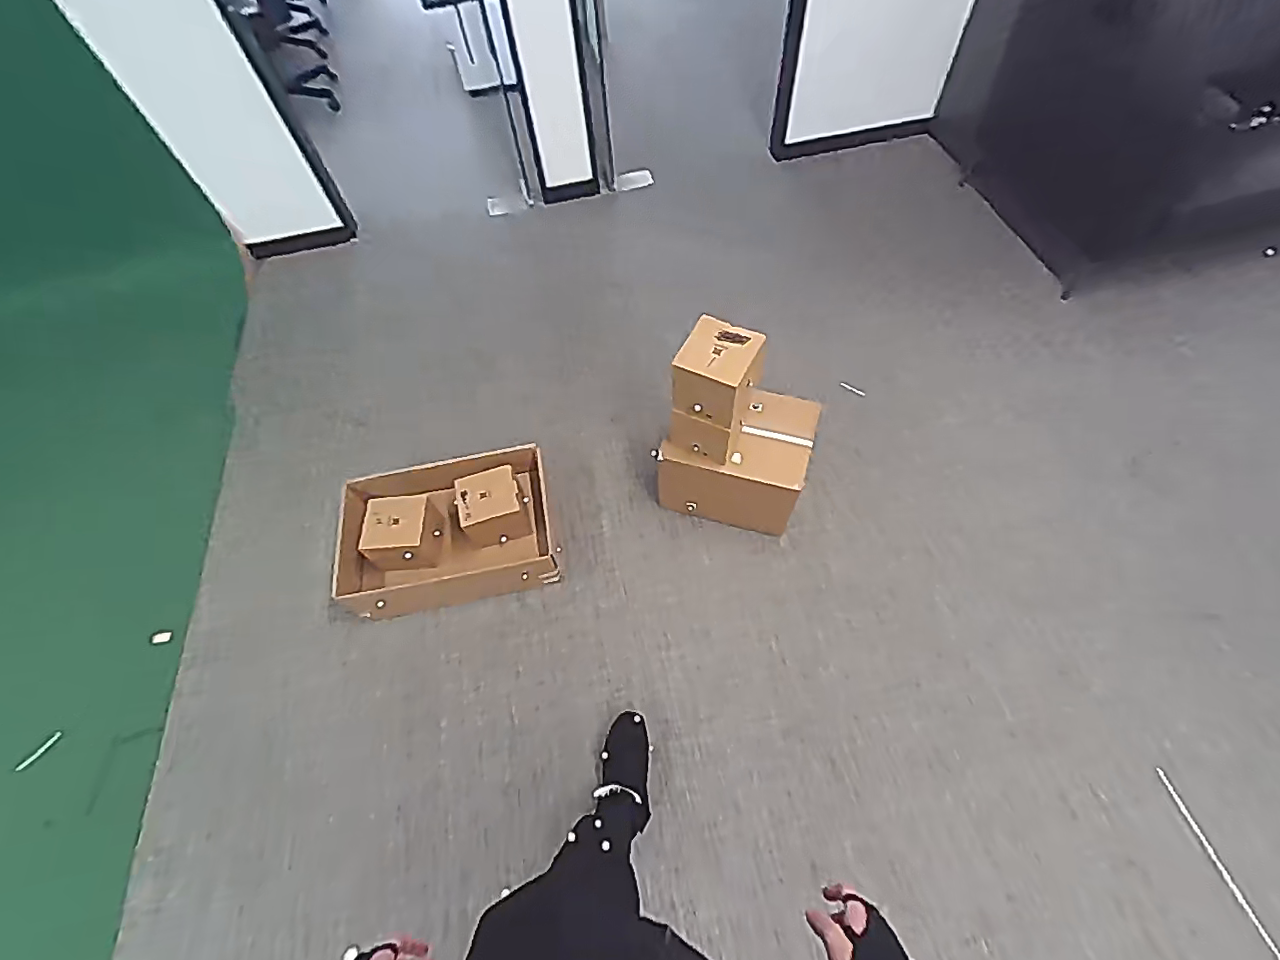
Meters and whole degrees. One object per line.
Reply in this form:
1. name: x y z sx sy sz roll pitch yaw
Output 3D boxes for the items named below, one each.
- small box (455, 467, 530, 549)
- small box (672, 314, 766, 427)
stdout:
1. small box: -0.442 0.088 1.645 0.179 0.176 0.168 -16 60 -6
2. small box: 0.187 -0.262 1.312 0.168 0.176 0.179 24 66 17
